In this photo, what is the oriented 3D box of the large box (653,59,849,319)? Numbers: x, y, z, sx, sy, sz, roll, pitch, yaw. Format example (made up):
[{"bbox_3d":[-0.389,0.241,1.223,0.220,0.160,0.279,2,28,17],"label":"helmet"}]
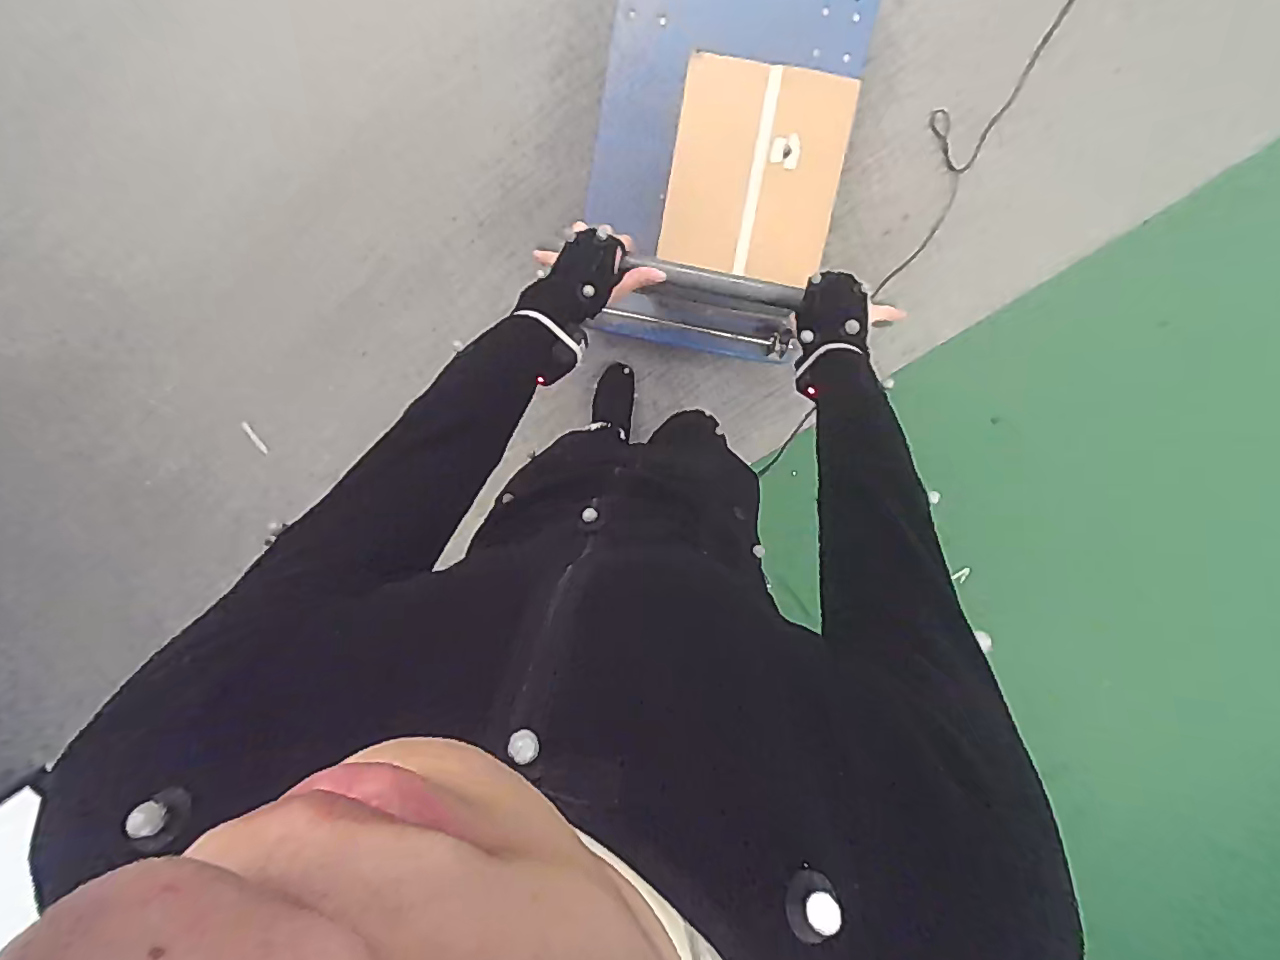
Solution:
[{"bbox_3d":[0.209,-0.586,1.176,0.320,0.320,0.408,10,102,-2],"label":"large box"}]
